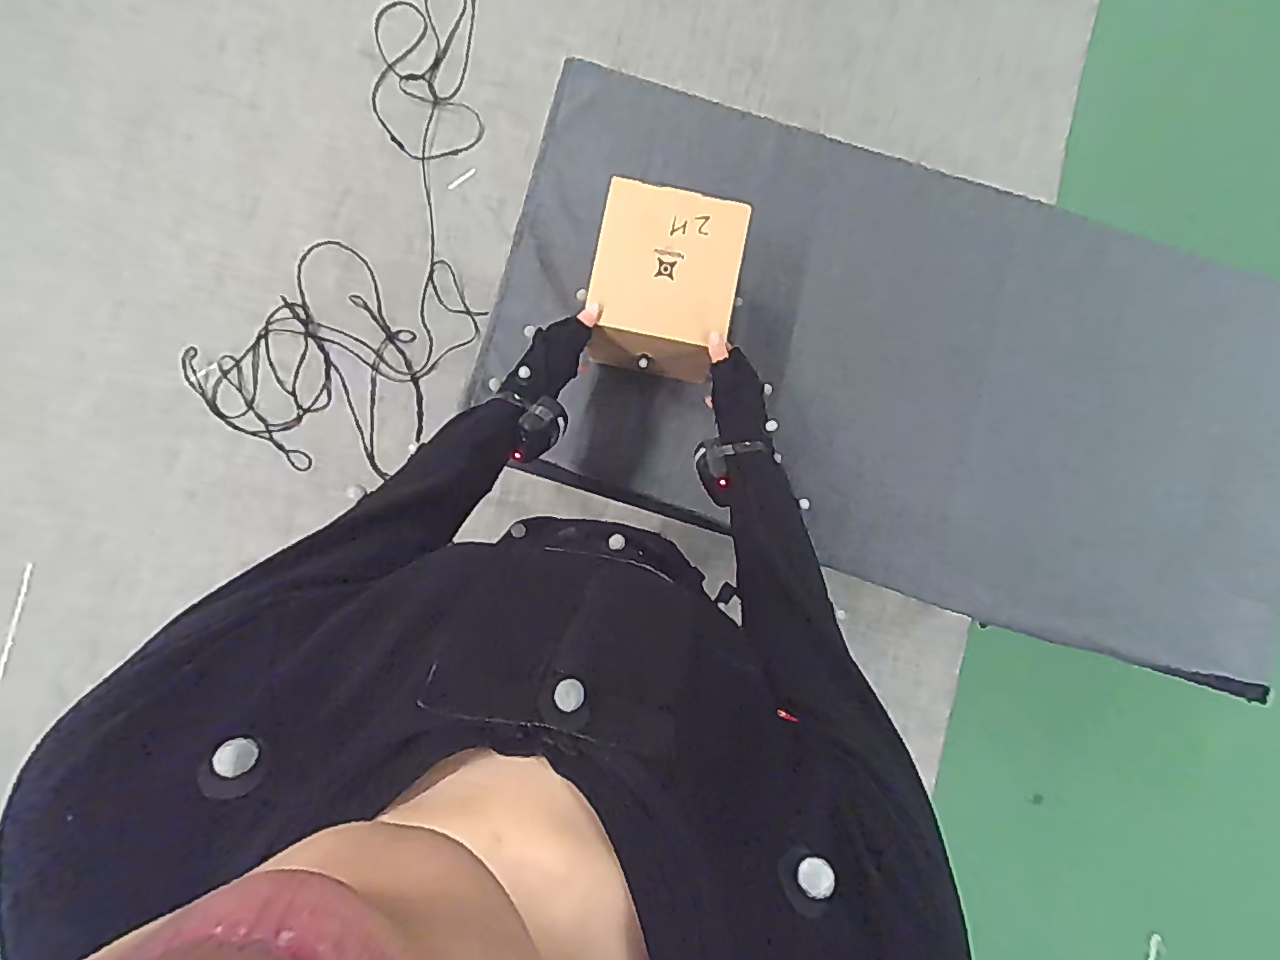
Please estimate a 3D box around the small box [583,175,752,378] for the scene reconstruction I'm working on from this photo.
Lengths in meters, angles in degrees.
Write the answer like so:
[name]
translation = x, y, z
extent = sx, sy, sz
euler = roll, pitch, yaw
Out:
[small box]
translation = 0.030, -0.243, 0.690
extent = 0.168, 0.176, 0.179
euler = 12, 86, -2
